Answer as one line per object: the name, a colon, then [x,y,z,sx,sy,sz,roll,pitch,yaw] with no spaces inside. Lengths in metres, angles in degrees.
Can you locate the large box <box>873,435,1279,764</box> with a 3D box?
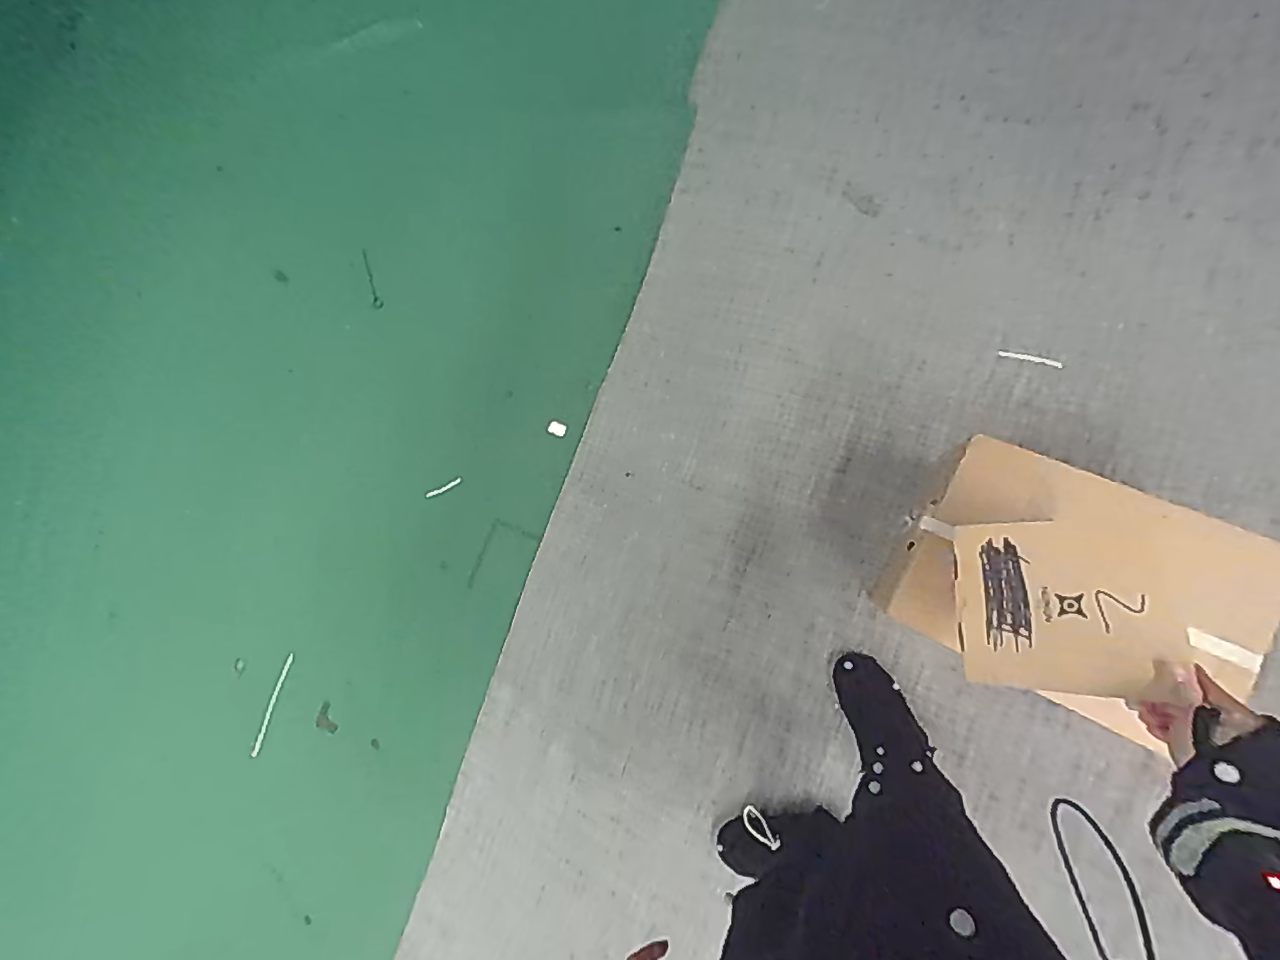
large box: [0.651,0.166,0.883,0.408,0.320,0.320,26,91,20]
